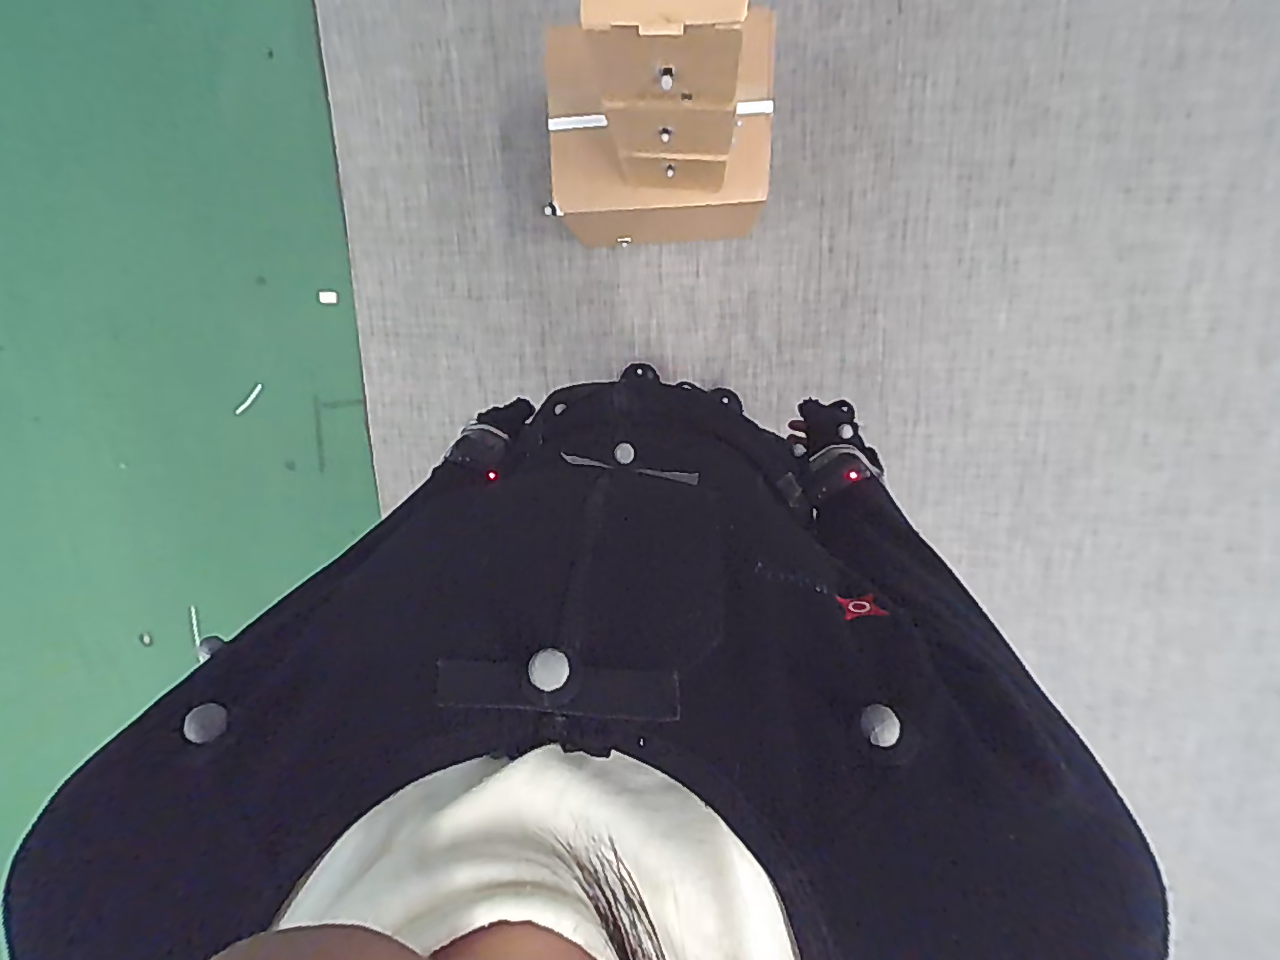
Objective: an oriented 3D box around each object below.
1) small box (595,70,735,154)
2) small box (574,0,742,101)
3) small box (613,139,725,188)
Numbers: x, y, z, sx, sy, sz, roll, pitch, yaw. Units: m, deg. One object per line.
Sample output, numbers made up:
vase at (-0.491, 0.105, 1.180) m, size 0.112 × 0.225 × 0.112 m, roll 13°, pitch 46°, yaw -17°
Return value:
small box at (0.043, -0.571, 0.748) m, size 0.179 × 0.176 × 0.168 m, roll 5°, pitch 104°, yaw 7°
small box at (0.029, -0.542, 0.587) m, size 0.168 × 0.176 × 0.179 m, roll 5°, pitch 105°, yaw 5°
small box at (0.057, -0.605, 0.908) m, size 0.179 × 0.176 × 0.168 m, roll 5°, pitch 105°, yaw 3°
